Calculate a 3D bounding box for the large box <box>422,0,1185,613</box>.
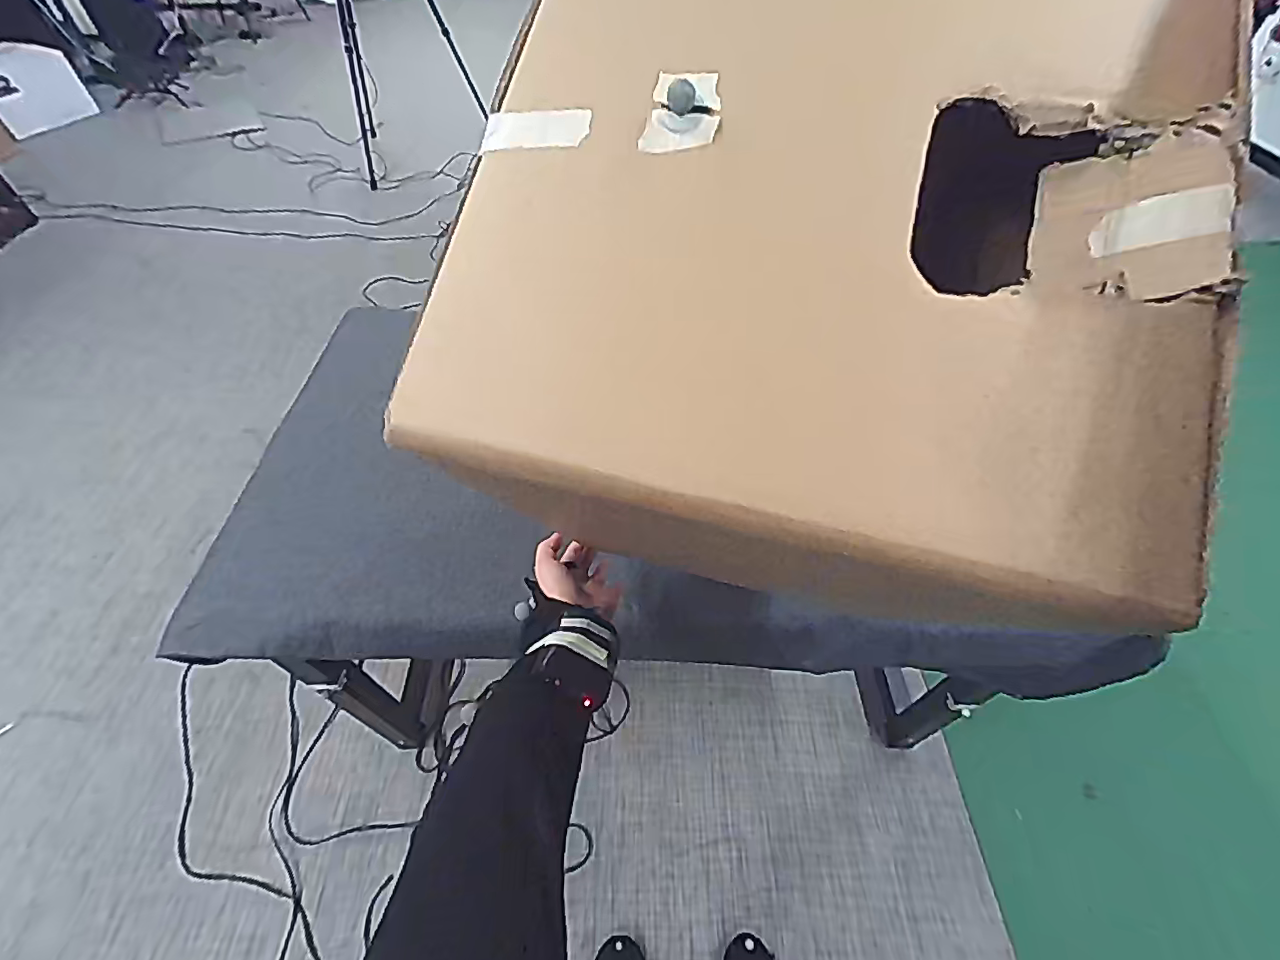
[{"bbox_3d":[0.095,-0.090,0.435,0.320,0.408,0.320,13,80,9],"label":"large box"}]
